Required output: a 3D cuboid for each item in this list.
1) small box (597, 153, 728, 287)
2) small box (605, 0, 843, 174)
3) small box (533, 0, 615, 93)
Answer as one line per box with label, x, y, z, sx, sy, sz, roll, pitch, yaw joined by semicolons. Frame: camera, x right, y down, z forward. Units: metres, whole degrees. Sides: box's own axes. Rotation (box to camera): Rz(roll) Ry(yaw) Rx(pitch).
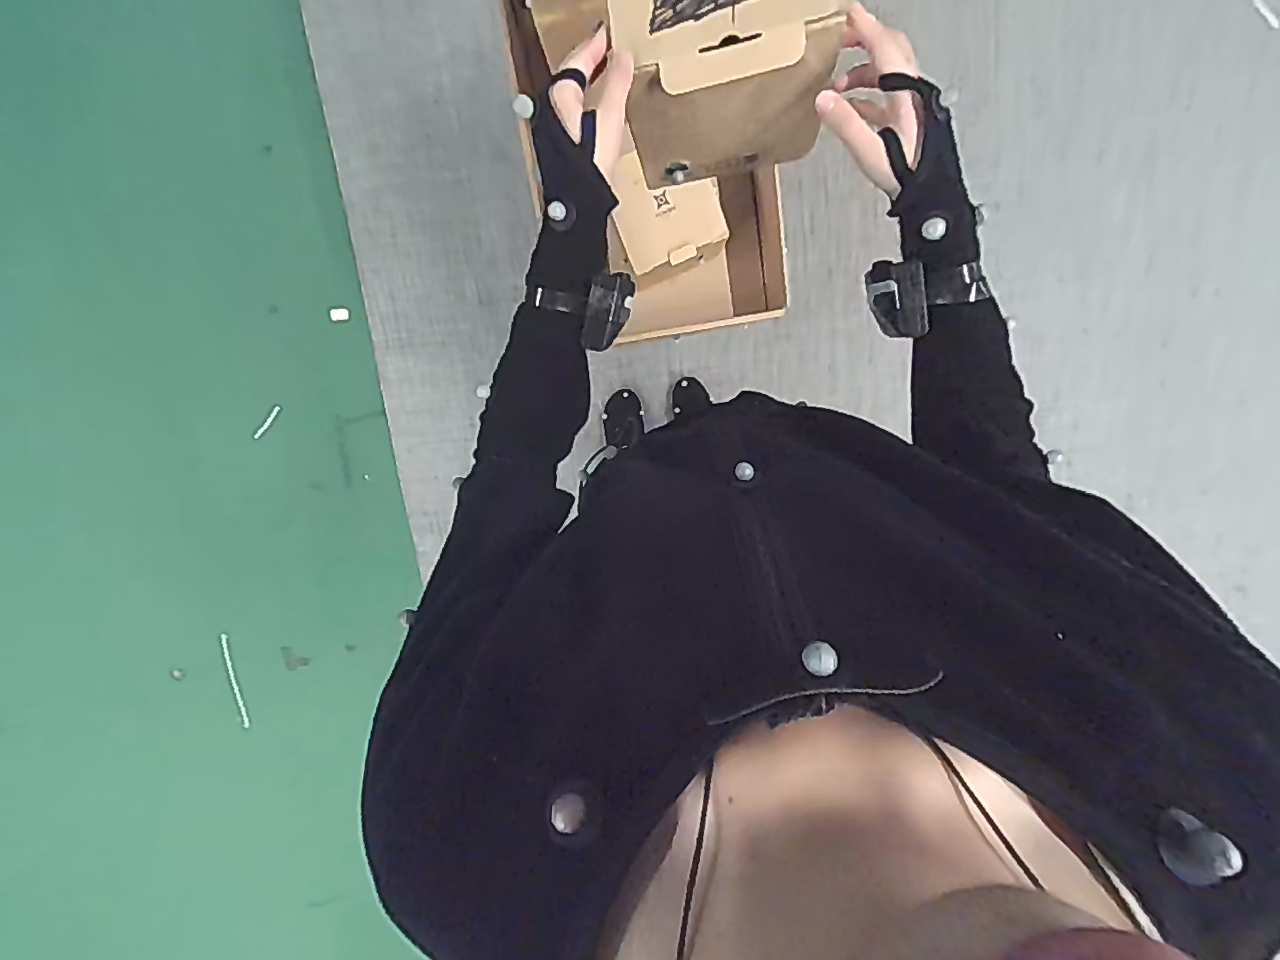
small box;0.039;-0.449;0.936;0.168;0.176;0.179;-21;99;5
small box;0.065;-0.389;0.458;0.168;0.176;0.179;-6;90;9
small box;-0.055;-0.670;0.730;0.179;0.176;0.168;-13;100;5
